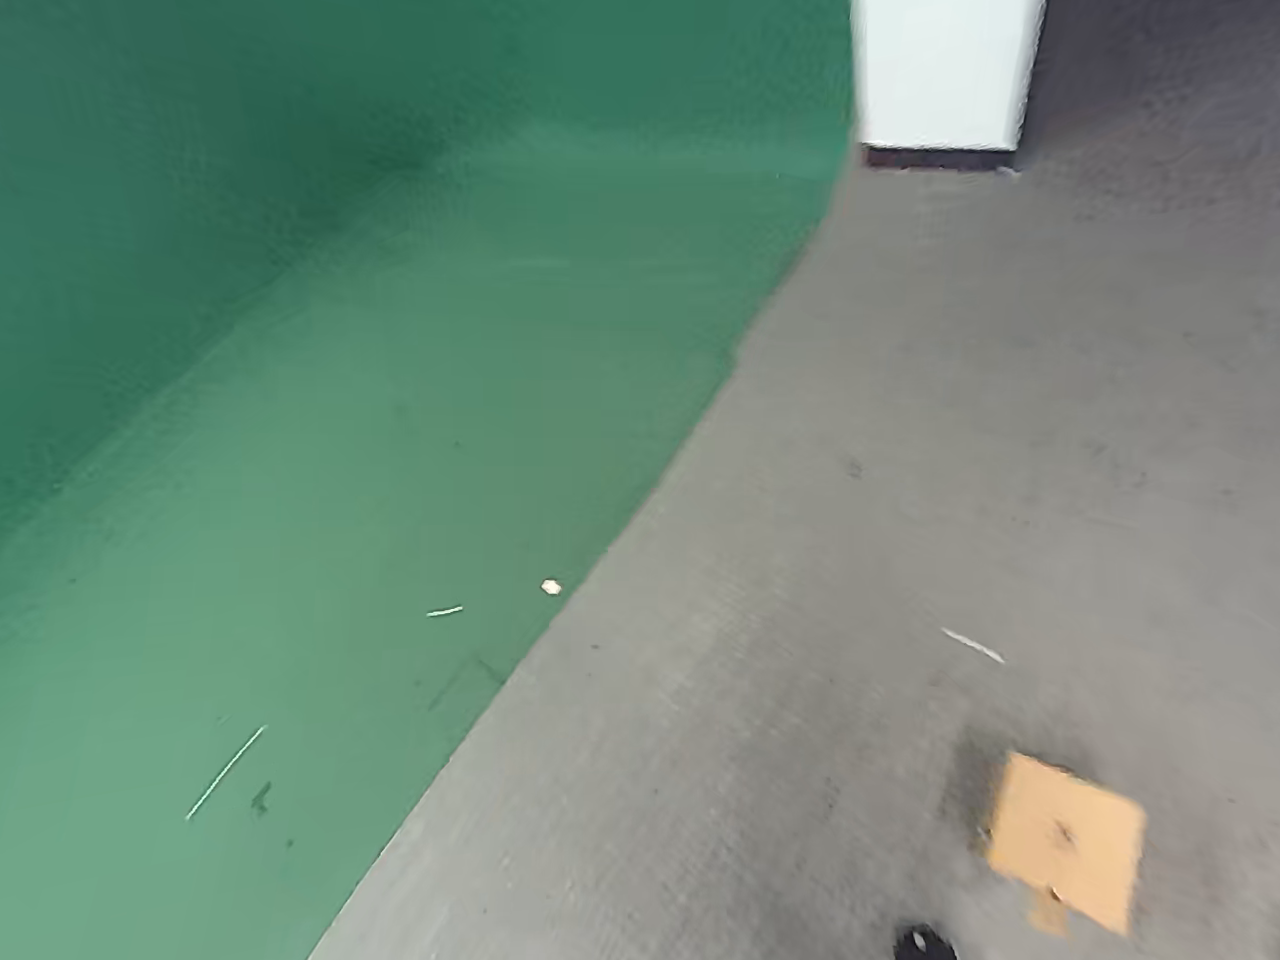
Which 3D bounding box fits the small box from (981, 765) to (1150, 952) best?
[{"bbox_3d":[0.664,0.586,0.861,0.168,0.176,0.179,16,68,32],"label":"small box"}]
